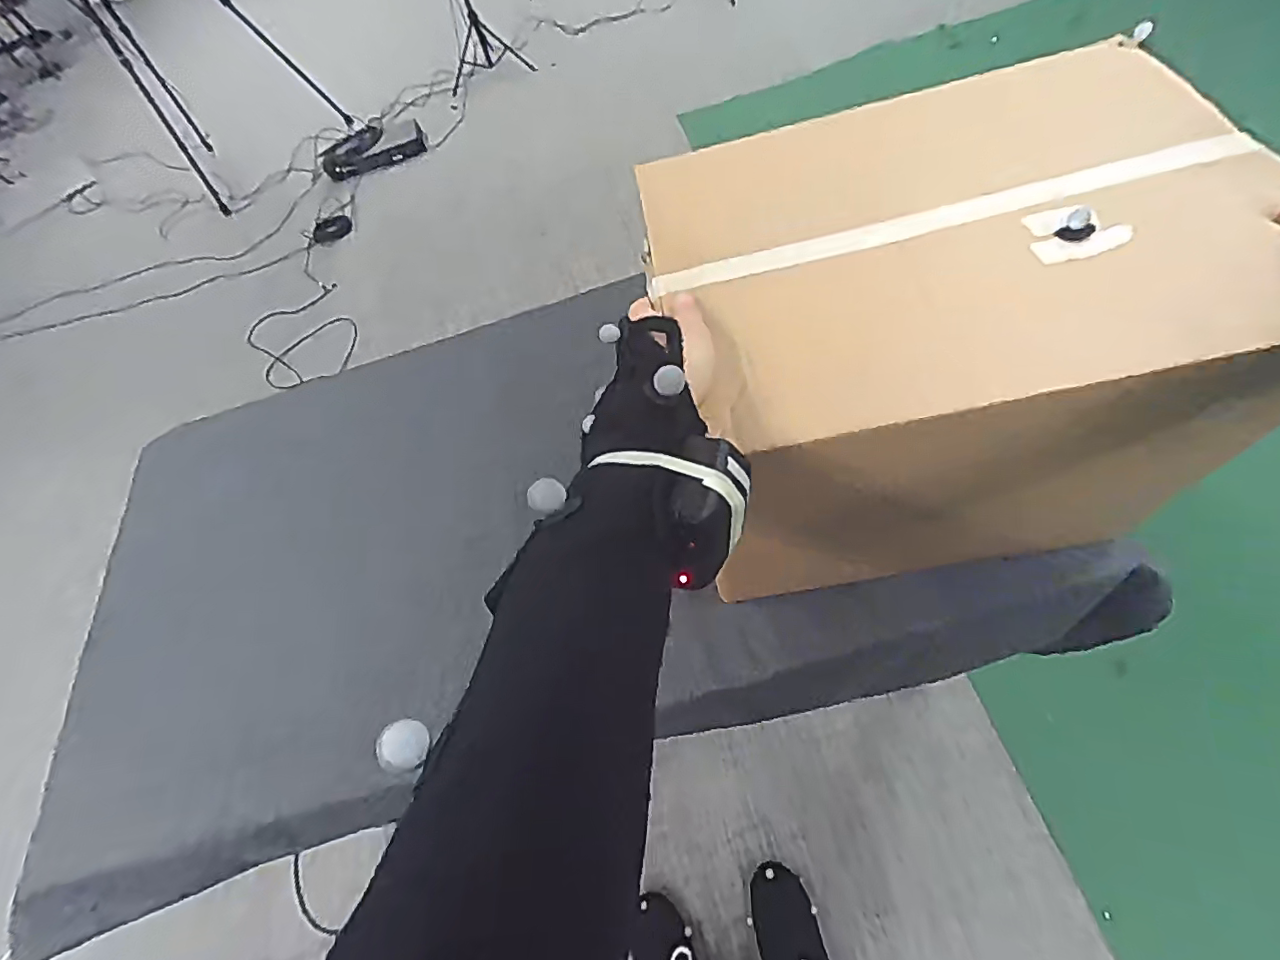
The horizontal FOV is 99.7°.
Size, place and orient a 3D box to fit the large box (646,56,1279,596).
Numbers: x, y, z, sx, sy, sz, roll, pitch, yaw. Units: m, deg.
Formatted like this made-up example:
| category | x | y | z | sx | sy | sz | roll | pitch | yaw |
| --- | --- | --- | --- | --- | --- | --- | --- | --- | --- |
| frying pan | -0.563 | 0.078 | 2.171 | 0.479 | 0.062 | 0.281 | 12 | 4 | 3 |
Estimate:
| category | x | y | z | sx | sy | sz | roll | pitch | yaw |
| --- | --- | --- | --- | --- | --- | --- | --- | --- | --- |
| large box | 0.242 | -0.110 | 0.516 | 0.408 | 0.320 | 0.320 | -11 | 61 | 5 |
